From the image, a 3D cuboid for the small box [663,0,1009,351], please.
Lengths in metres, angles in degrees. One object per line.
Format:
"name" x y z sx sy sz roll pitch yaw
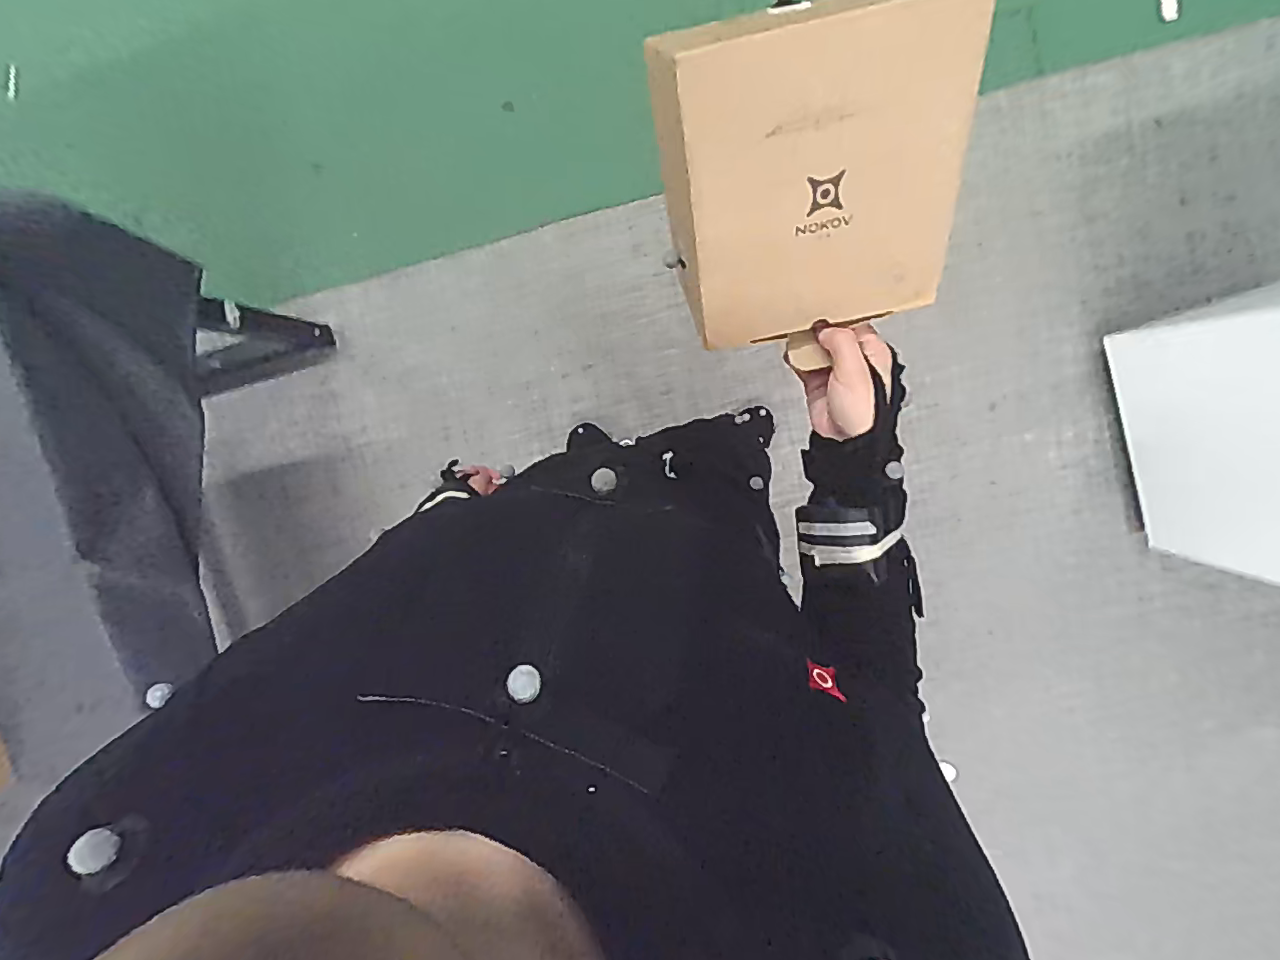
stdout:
"small box" 0.115 -0.222 0.391 0.168 0.176 0.179 -11 131 3
